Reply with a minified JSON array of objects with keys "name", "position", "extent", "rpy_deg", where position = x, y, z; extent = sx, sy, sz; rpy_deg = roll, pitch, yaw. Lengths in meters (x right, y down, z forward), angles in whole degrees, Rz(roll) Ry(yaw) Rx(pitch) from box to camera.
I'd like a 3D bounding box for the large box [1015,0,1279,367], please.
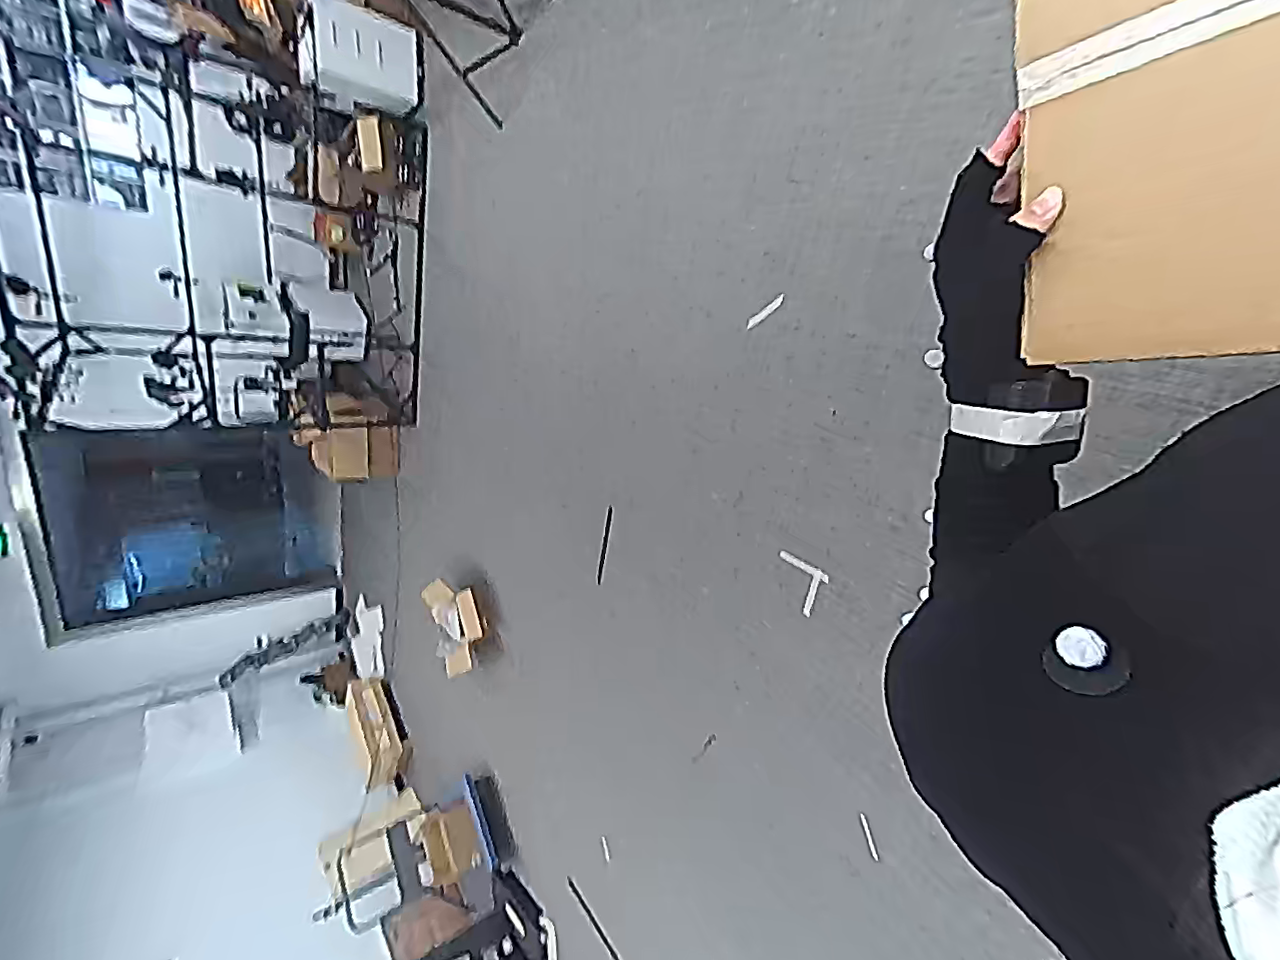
[{"name":"large box","position":[0.455,-0.252,0.247],"extent":[0.408,0.320,0.320],"rpy_deg":[8,116,52]}]
